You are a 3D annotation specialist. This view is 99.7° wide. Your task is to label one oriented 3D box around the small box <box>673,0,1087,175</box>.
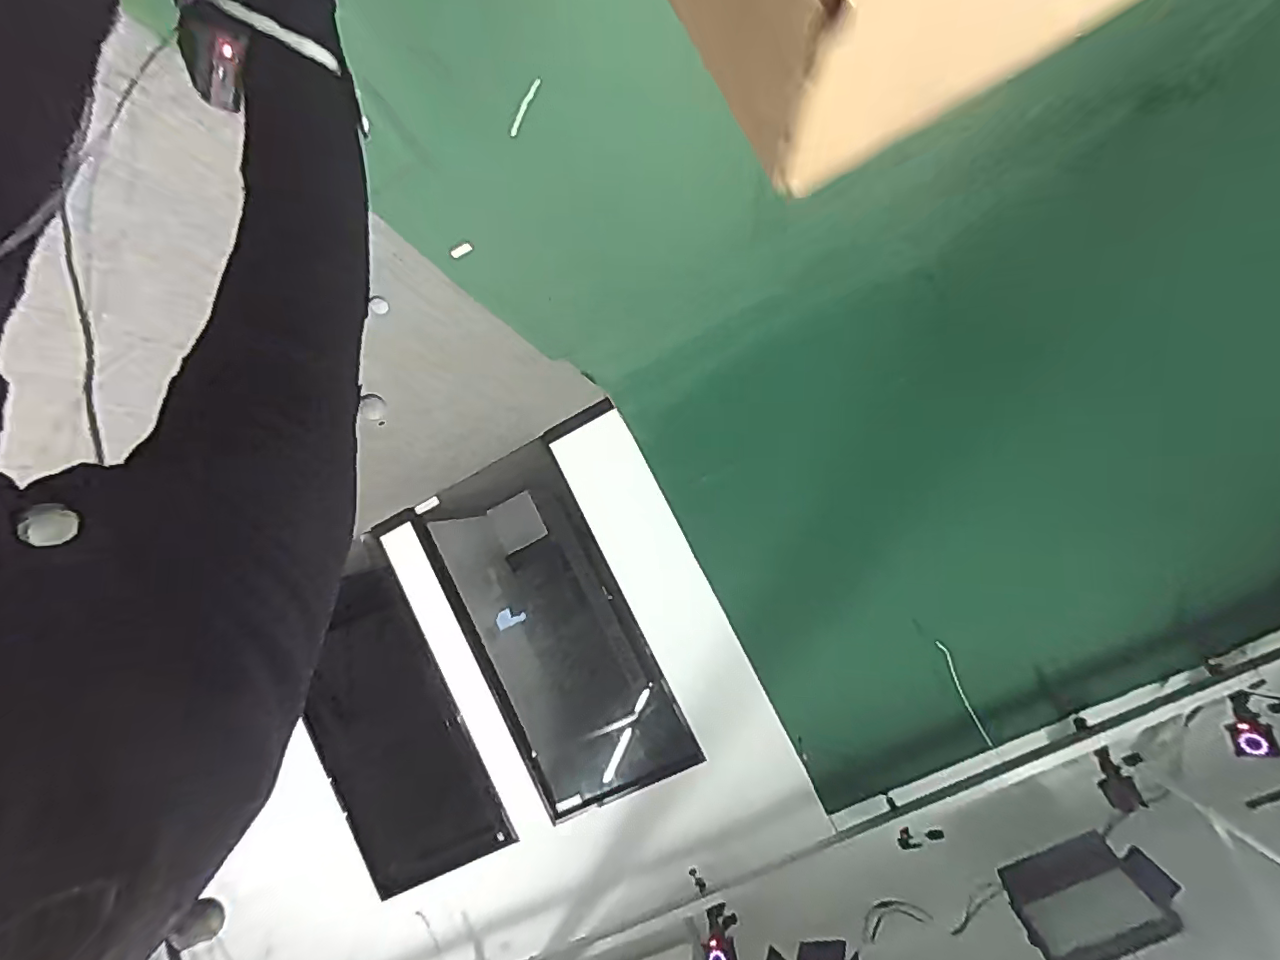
[{"bbox_3d":[0.081,-0.236,0.136,0.179,0.176,0.168,-28,175,6],"label":"small box"}]
